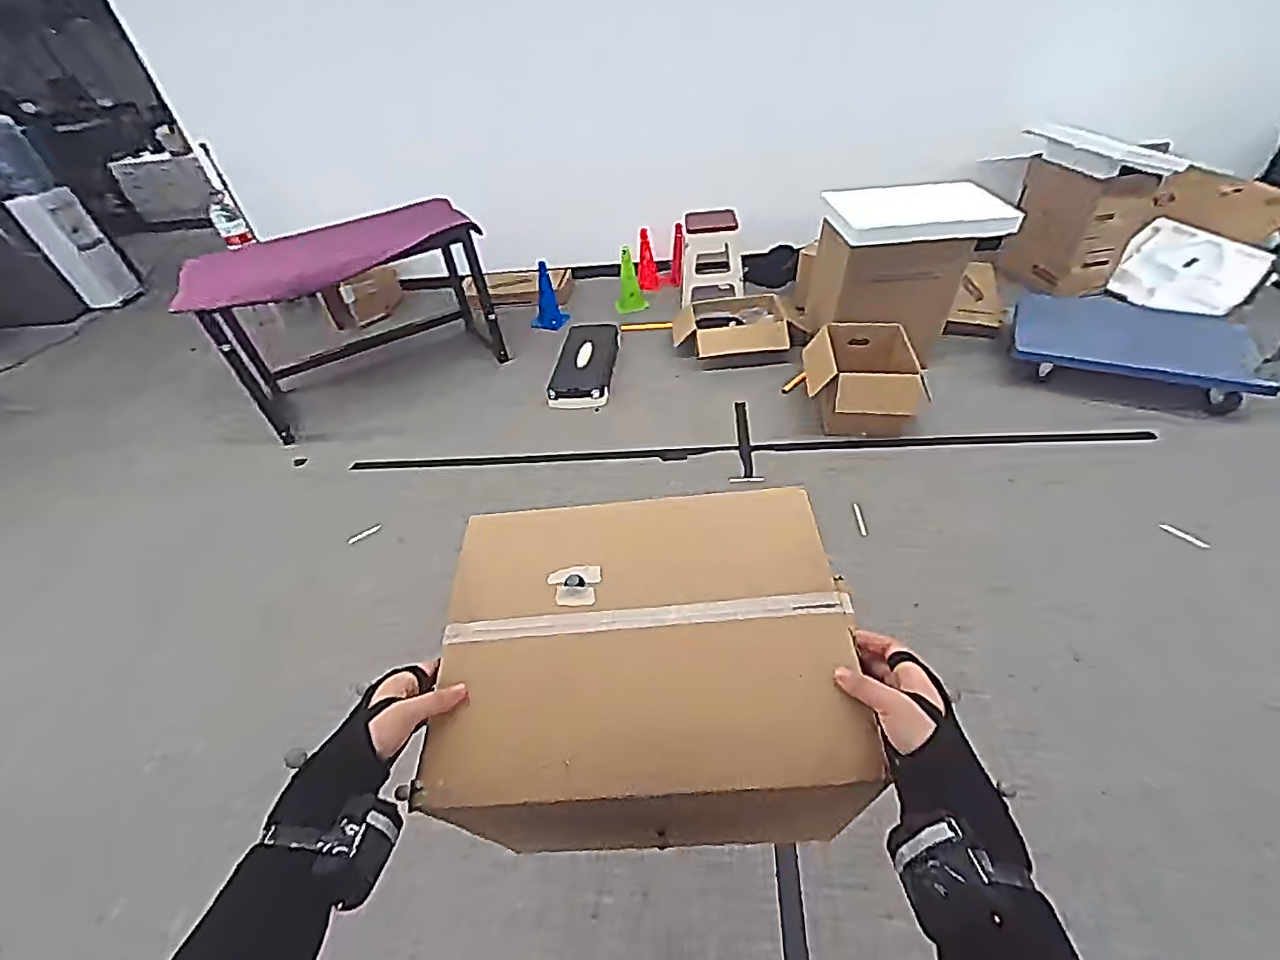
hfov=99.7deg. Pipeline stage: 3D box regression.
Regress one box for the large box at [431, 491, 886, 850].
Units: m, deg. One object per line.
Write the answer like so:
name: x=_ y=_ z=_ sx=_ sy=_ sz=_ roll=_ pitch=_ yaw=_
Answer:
large box: x=0.025 y=0.248 z=0.671 sx=0.408 sy=0.320 sz=0.320 roll=-7 pitch=48 yaw=5
